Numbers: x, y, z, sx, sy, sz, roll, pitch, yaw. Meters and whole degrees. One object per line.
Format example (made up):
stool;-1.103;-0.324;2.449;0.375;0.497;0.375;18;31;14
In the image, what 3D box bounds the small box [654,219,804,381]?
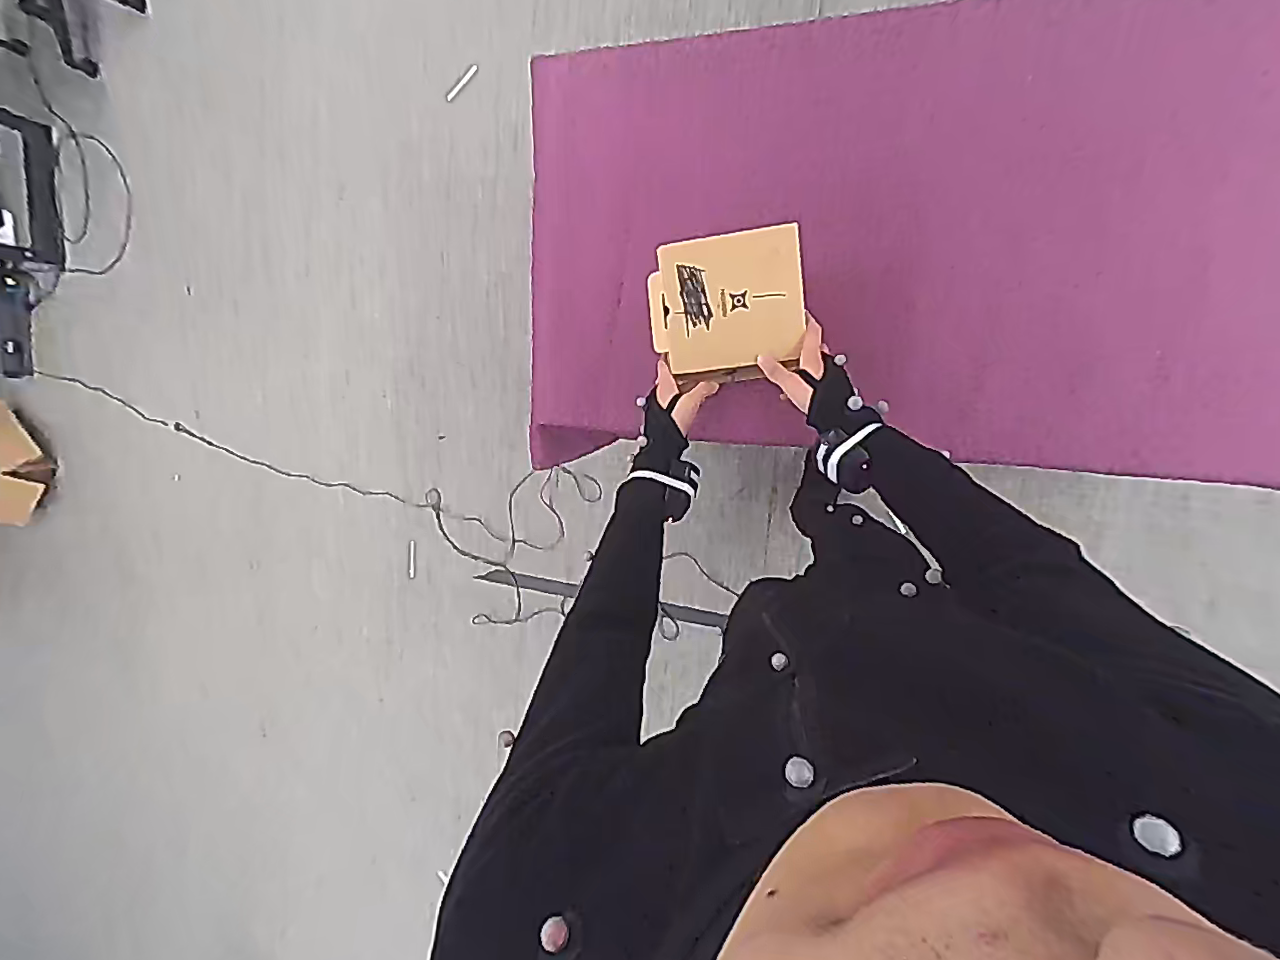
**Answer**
small box;0.124;-0.234;0.752;0.179;0.176;0.168;-5;94;10
